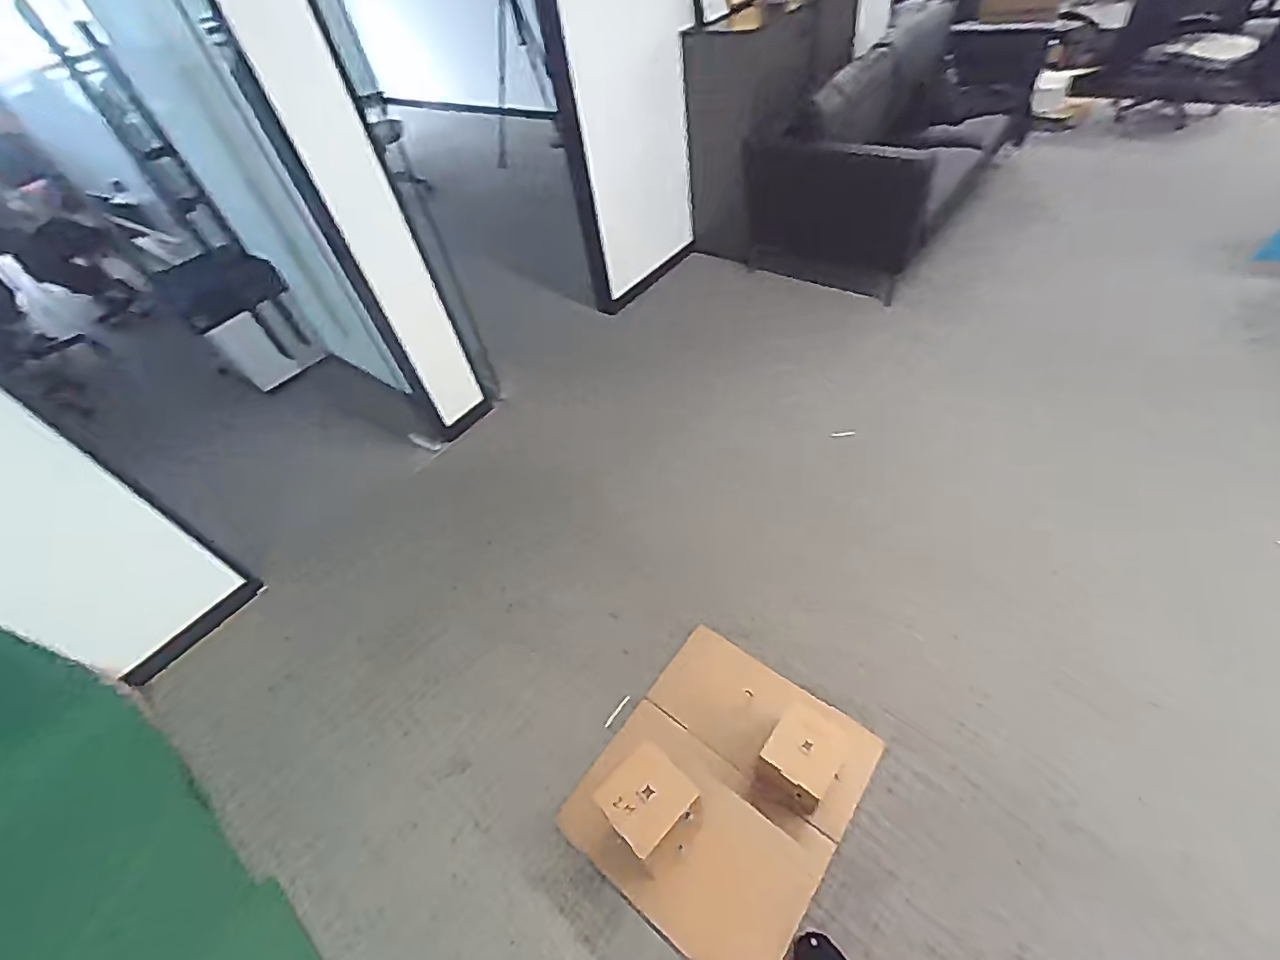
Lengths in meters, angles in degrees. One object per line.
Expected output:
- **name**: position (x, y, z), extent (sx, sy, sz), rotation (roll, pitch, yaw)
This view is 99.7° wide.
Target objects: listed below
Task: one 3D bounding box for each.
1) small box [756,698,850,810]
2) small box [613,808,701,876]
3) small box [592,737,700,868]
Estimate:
- **small box**: position (0.414, 0.706, 1.386), extent (0.168, 0.176, 0.179), rotation (28, 59, 30)
- **small box**: position (0.033, 0.833, 1.336), extent (0.179, 0.176, 0.168), rotation (-38, 53, -23)
- **small box**: position (0.019, 0.724, 1.211), extent (0.179, 0.176, 0.168), rotation (-39, 53, -23)
